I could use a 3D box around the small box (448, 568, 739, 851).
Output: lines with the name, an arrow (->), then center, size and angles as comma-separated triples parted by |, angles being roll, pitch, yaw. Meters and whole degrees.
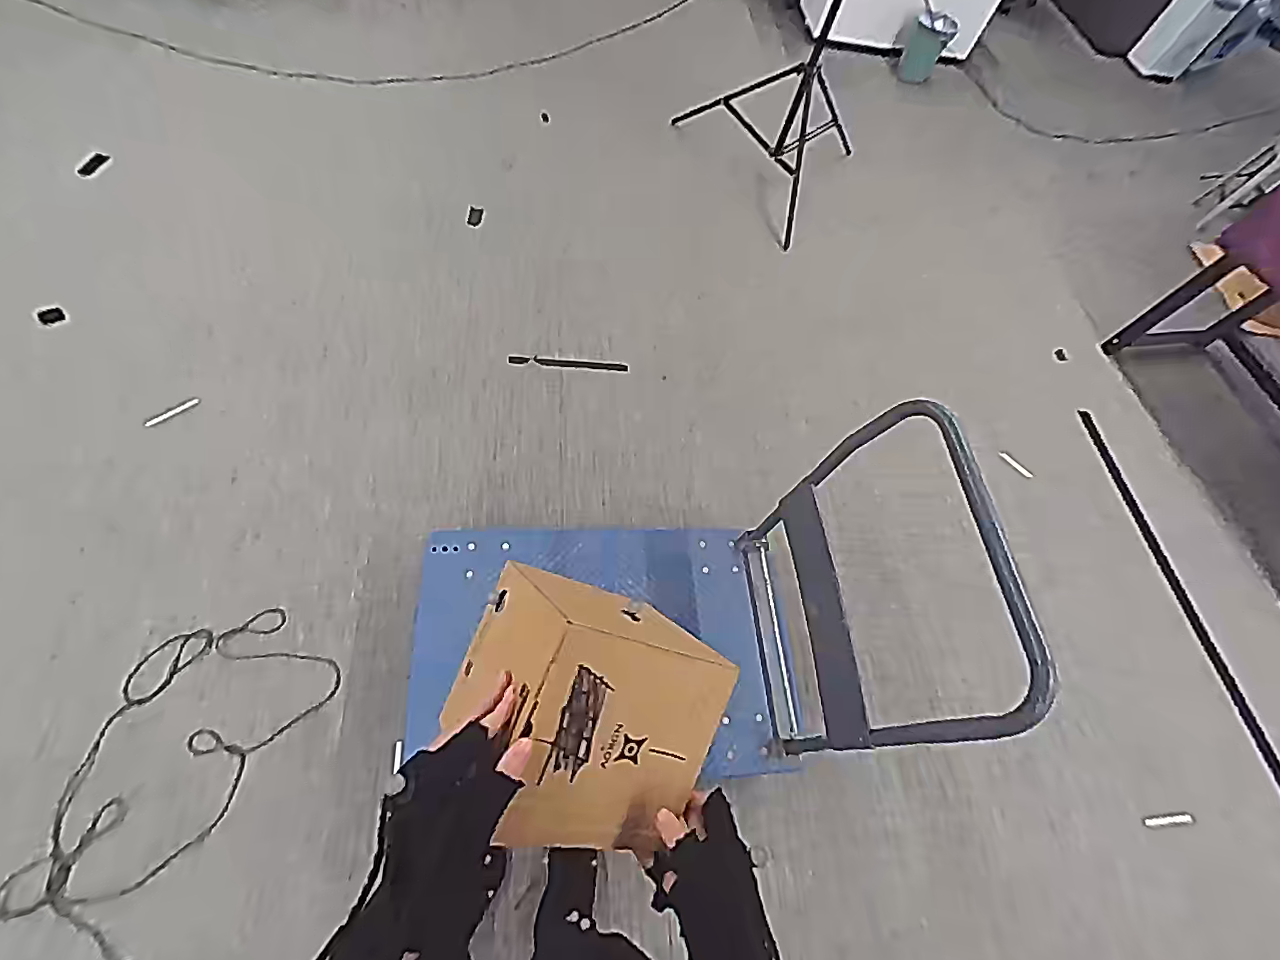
small box -> -0.051, 0.193, 0.488 | 0.179, 0.176, 0.168 | 26, 86, -30
